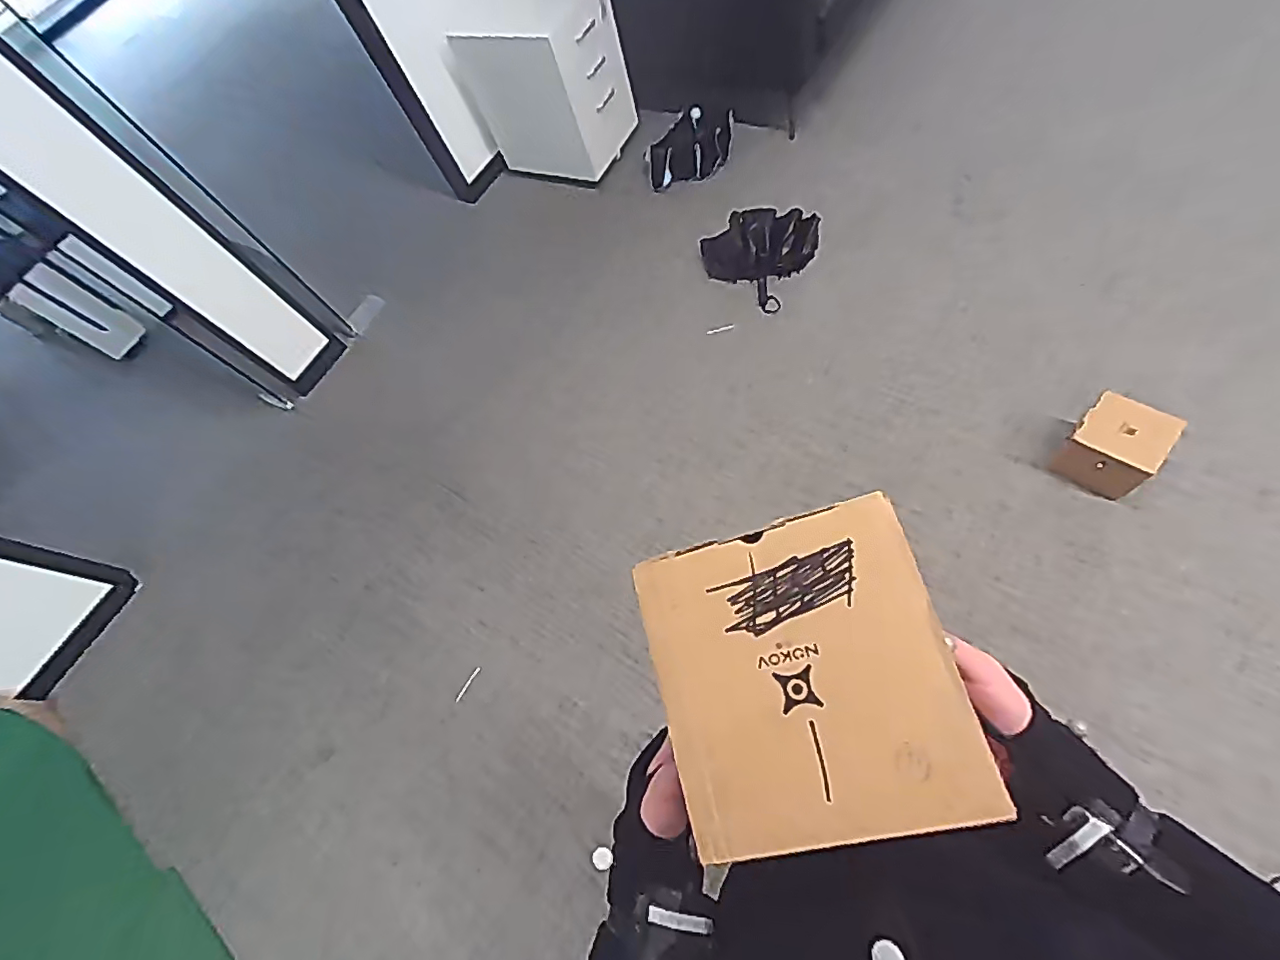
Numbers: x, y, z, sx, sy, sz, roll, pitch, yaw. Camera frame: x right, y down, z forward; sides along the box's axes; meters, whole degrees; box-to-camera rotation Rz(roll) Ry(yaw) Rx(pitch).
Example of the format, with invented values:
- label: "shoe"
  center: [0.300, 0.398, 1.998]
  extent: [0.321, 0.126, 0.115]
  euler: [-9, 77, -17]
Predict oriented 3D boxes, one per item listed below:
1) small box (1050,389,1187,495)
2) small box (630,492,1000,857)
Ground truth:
- label: "small box"
  center: [1.179, -0.088, 1.350]
  extent: [0.179, 0.176, 0.168]
  euler: [36, 80, 26]
- label: "small box"
  center: [0.111, 0.129, 0.385]
  extent: [0.168, 0.176, 0.179]
  euler: [-19, 71, 15]
